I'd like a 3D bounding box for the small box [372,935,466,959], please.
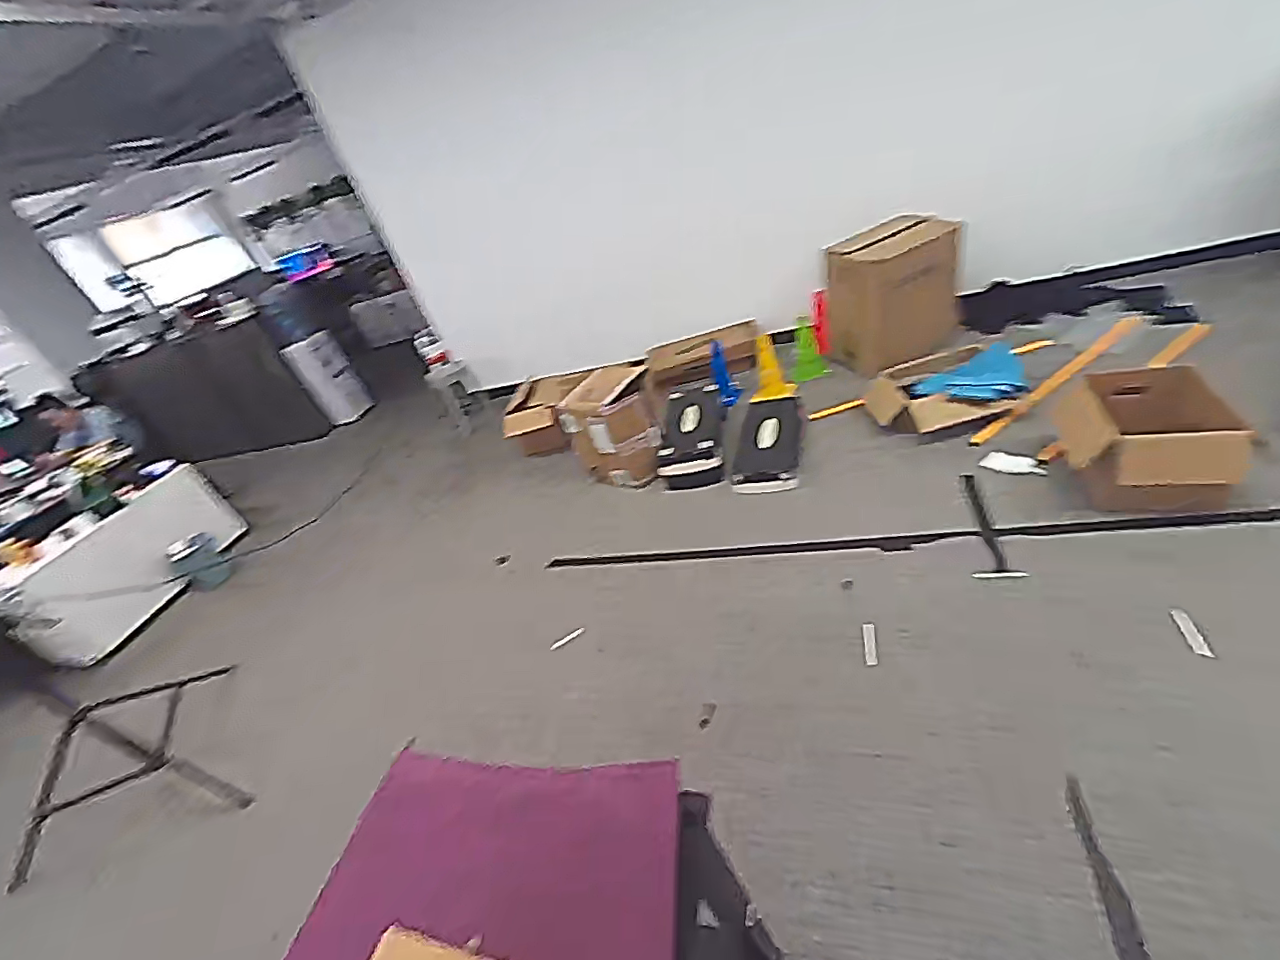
[{"bbox_3d":[-0.209,0.622,0.565,0.179,0.176,0.168,-6,36,23],"label":"small box"}]
